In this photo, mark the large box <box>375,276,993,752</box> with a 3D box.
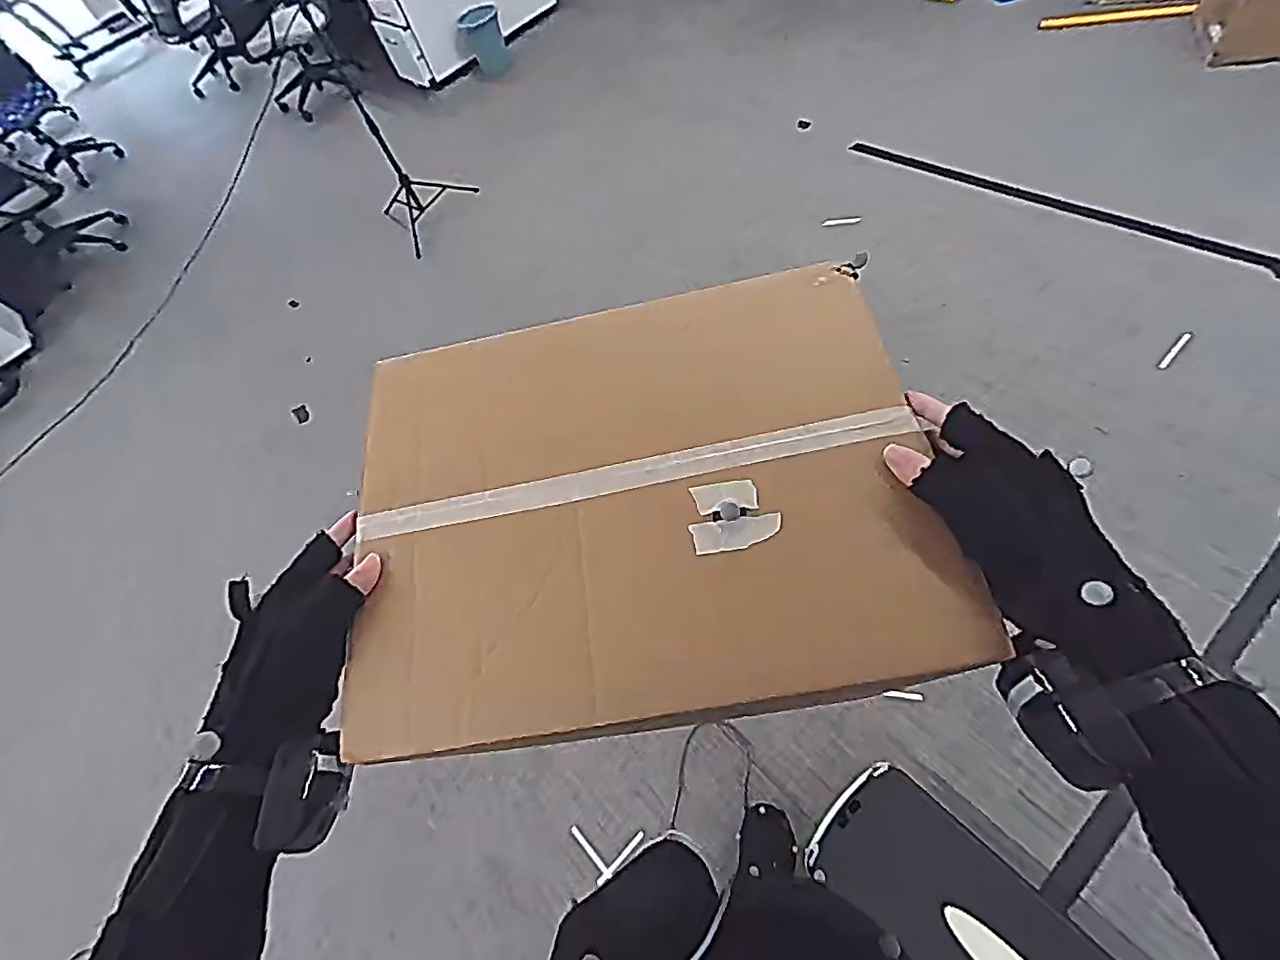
[{"bbox_3d":[0.019,0.064,0.534,0.408,0.320,0.320,-11,65,4],"label":"large box"}]
